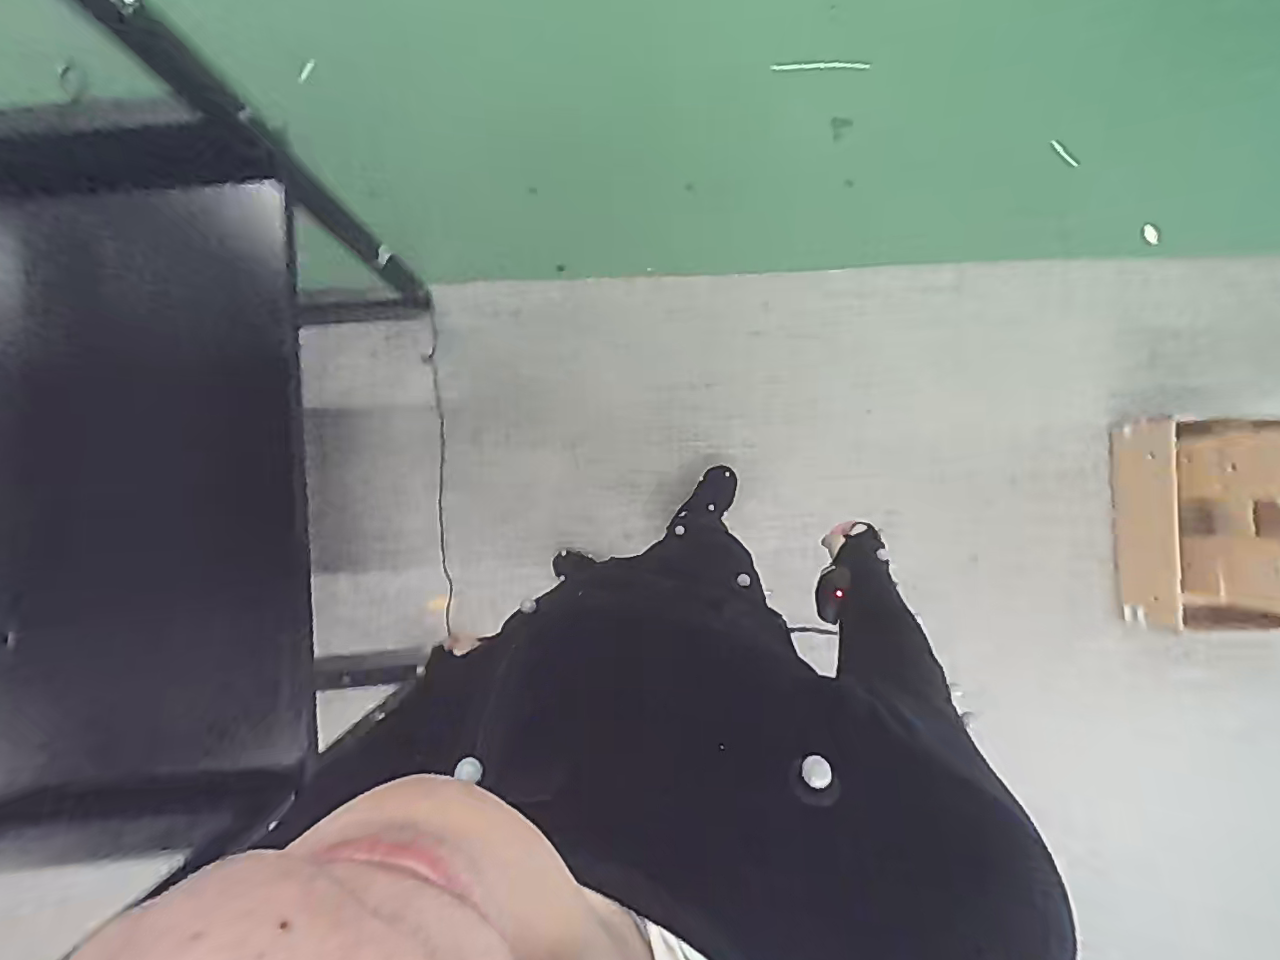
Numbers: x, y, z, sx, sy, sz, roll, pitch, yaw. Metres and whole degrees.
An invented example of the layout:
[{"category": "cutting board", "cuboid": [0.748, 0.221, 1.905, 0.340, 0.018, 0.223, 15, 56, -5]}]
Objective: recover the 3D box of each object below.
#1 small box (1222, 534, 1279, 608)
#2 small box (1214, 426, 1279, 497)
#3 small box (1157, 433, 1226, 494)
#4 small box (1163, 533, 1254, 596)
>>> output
[{"category": "small box", "cuboid": [1.644, 0.229, 1.370, 0.168, 0.176, 0.179, -4, 88, 0]}, {"category": "small box", "cuboid": [1.635, -0.047, 1.383, 0.168, 0.176, 0.179, -2, 89, -2]}, {"category": "small box", "cuboid": [1.634, -0.044, 1.547, 0.179, 0.176, 0.168, -1, 88, -2]}, {"category": "small box", "cuboid": [1.642, 0.238, 1.535, 0.179, 0.176, 0.168, 0, 87, -1]}]
